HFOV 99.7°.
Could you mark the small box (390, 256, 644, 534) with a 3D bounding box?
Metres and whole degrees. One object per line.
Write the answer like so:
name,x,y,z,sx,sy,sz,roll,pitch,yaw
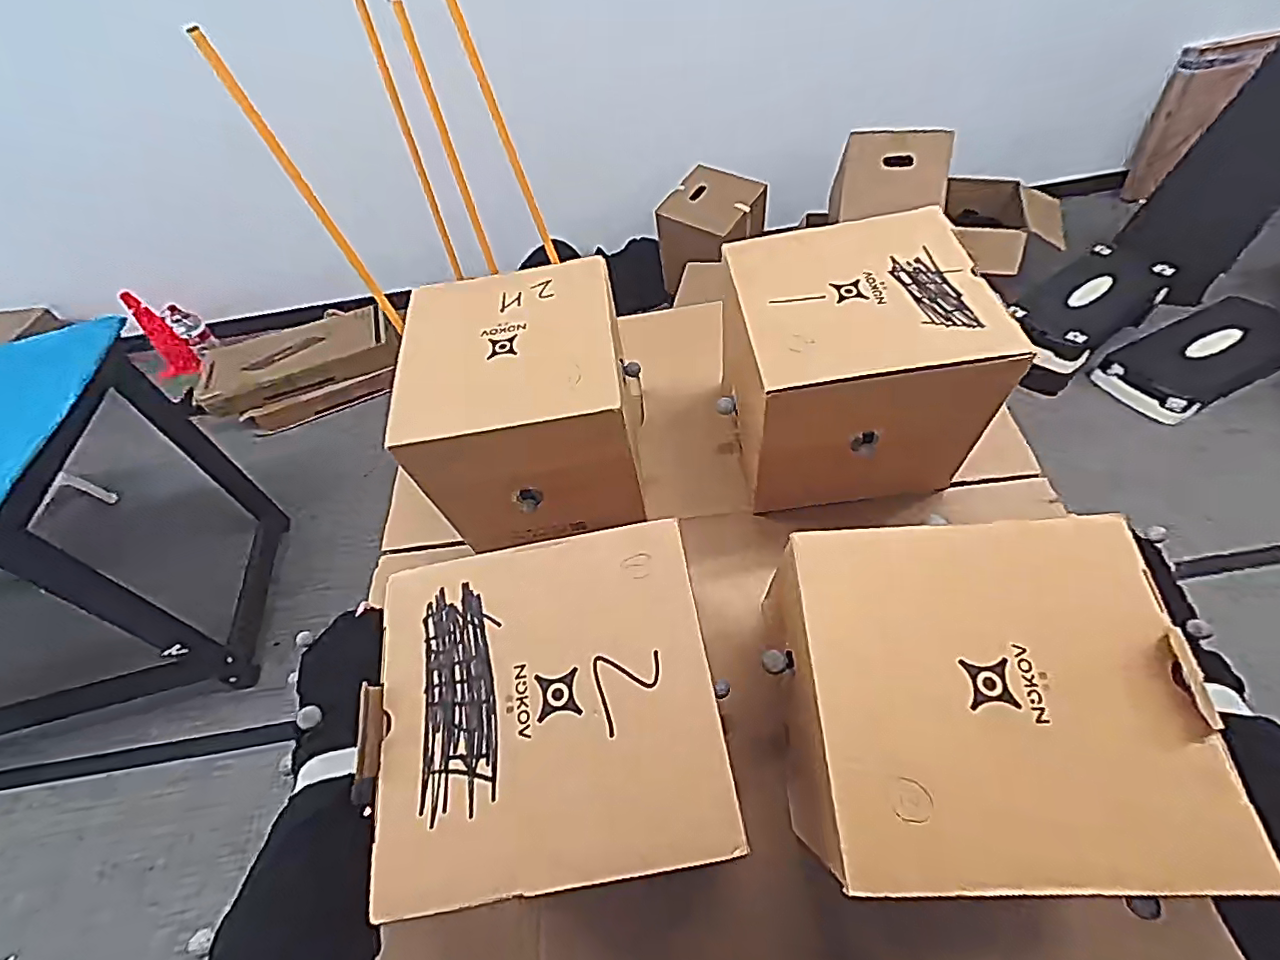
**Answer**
small box,-0.092,-0.064,0.483,0.168,0.176,0.179,-8,56,3
